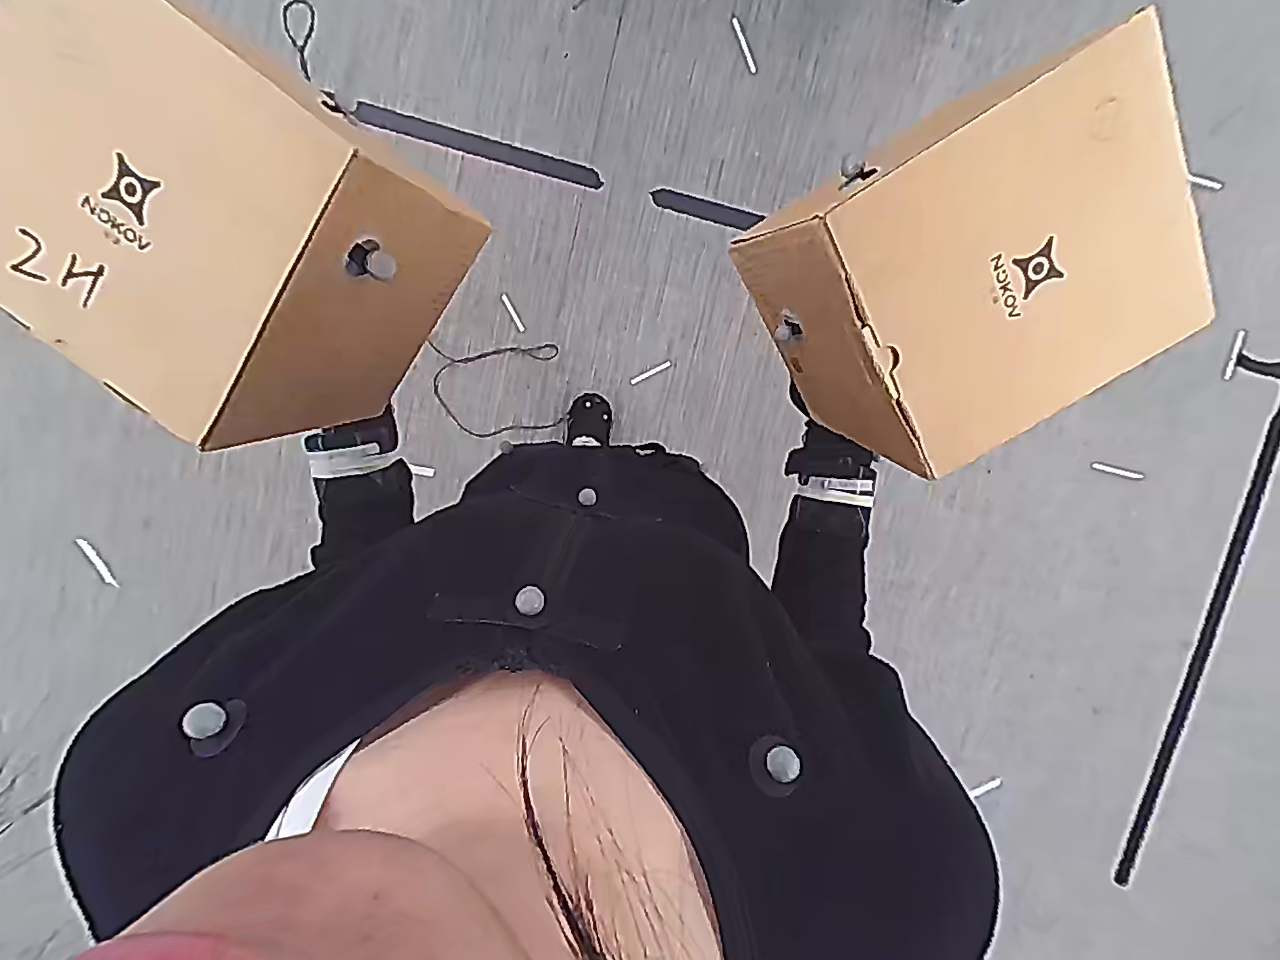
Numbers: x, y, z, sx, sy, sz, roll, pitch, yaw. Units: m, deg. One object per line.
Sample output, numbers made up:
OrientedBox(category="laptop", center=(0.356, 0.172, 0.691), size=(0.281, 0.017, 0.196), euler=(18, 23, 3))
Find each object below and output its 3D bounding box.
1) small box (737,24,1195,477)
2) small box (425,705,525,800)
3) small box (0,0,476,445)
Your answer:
OrientedBox(category="small box", center=(0.192, -0.135, 0.361), size=(0.179, 0.176, 0.168), euler=(-32, 110, 5))
OrientedBox(category="small box", center=(-0.362, 0.614, 1.156), size=(0.179, 0.176, 0.168), euler=(21, 94, -3))
OrientedBox(category="small box", center=(-0.227, -0.150, 0.333), size=(0.168, 0.176, 0.179), euler=(37, 105, -3))
